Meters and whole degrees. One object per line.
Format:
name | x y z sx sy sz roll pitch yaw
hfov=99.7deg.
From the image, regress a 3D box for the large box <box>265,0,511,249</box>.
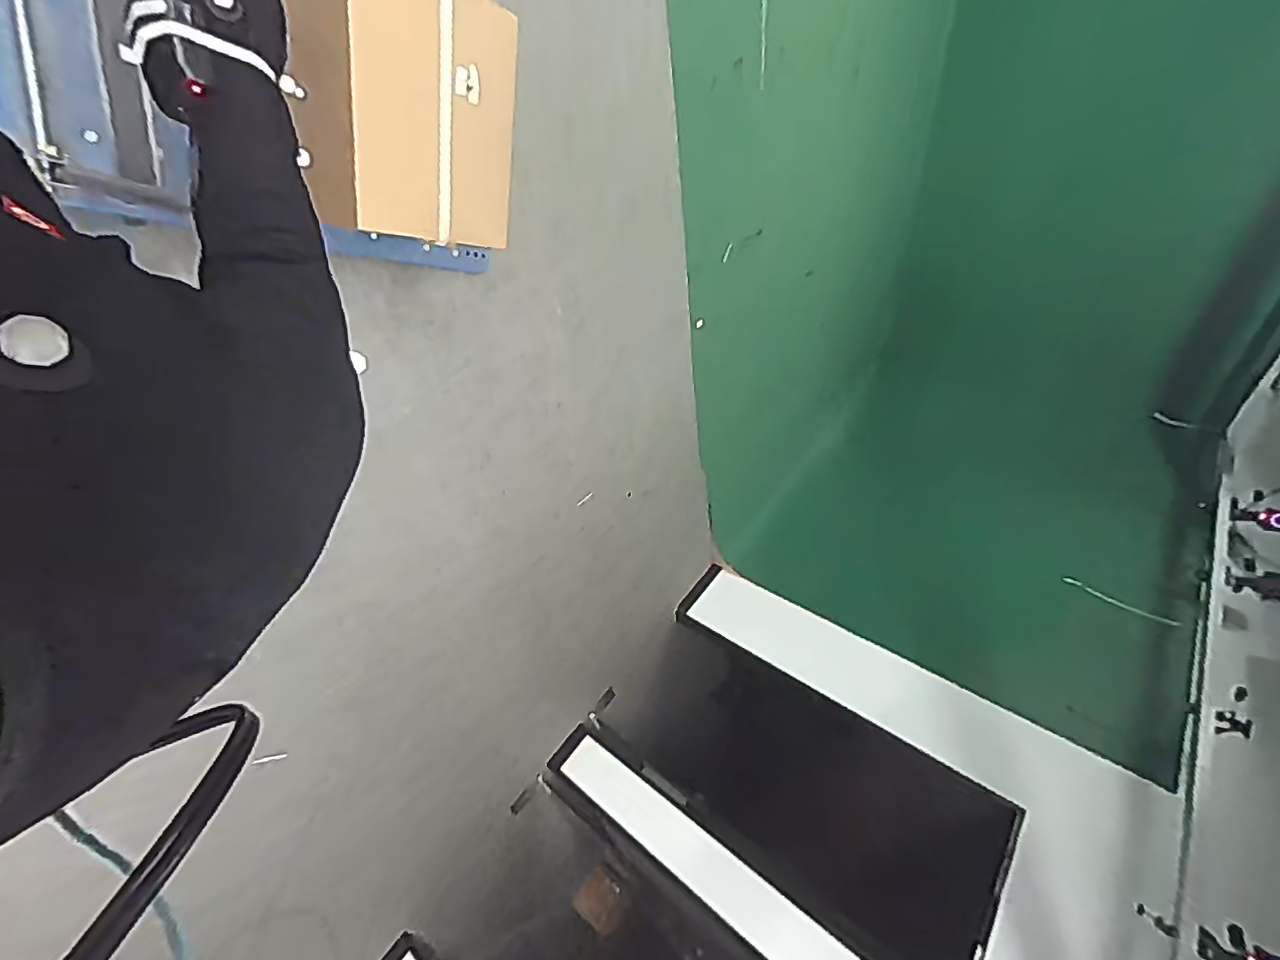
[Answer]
large box | -0.469 -0.681 1.035 0.320 0.320 0.408 -19 125 -49
